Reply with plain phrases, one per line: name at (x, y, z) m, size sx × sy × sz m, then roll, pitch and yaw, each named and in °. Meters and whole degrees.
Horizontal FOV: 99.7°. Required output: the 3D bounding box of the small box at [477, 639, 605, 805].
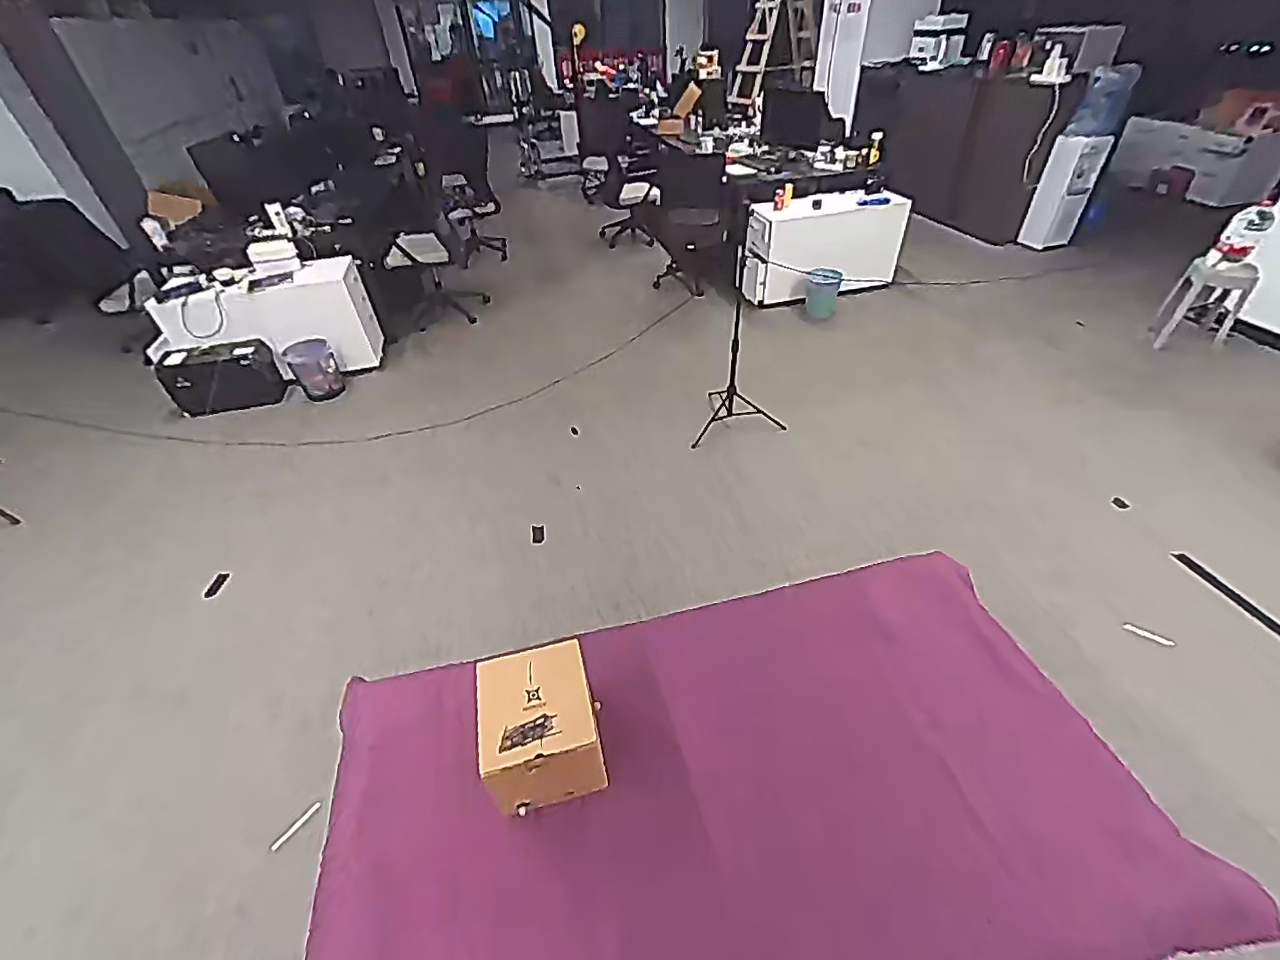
small box at (-0.156, 0.389, 0.860) m, size 0.168 × 0.176 × 0.179 m, roll -11°, pitch 41°, yaw -9°
